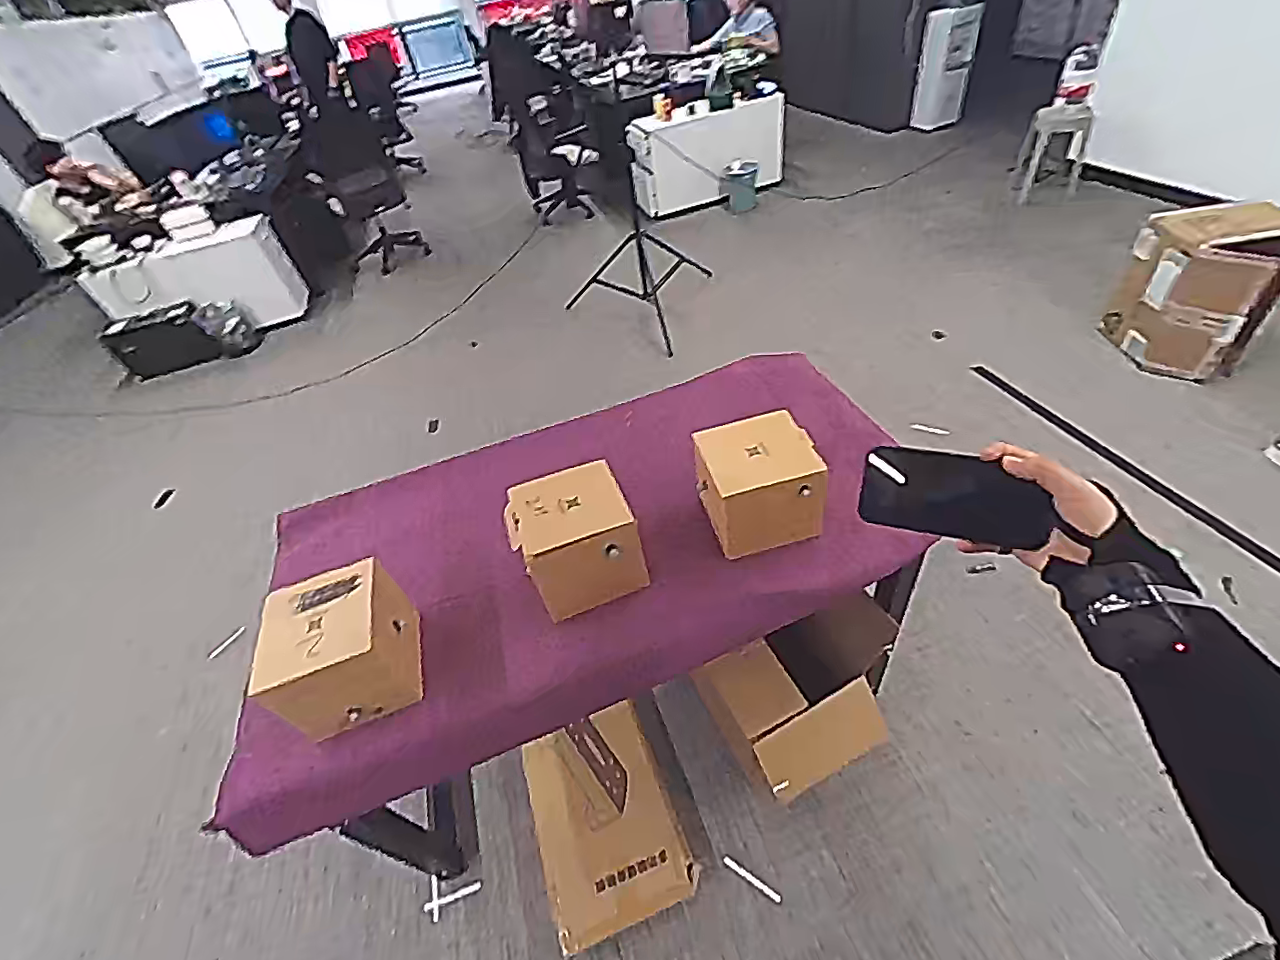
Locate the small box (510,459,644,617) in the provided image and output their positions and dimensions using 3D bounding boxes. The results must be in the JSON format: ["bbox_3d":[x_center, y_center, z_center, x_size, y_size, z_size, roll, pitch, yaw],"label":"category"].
[{"bbox_3d":[-0.100,0.099,0.915,0.179,0.176,0.168,-20,42,-8],"label":"small box"}]

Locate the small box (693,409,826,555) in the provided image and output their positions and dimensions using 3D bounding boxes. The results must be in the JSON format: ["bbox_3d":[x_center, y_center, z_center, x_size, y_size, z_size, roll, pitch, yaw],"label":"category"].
[{"bbox_3d":[0.204,0.007,0.944,0.179,0.176,0.168,-15,44,-3],"label":"small box"}]
